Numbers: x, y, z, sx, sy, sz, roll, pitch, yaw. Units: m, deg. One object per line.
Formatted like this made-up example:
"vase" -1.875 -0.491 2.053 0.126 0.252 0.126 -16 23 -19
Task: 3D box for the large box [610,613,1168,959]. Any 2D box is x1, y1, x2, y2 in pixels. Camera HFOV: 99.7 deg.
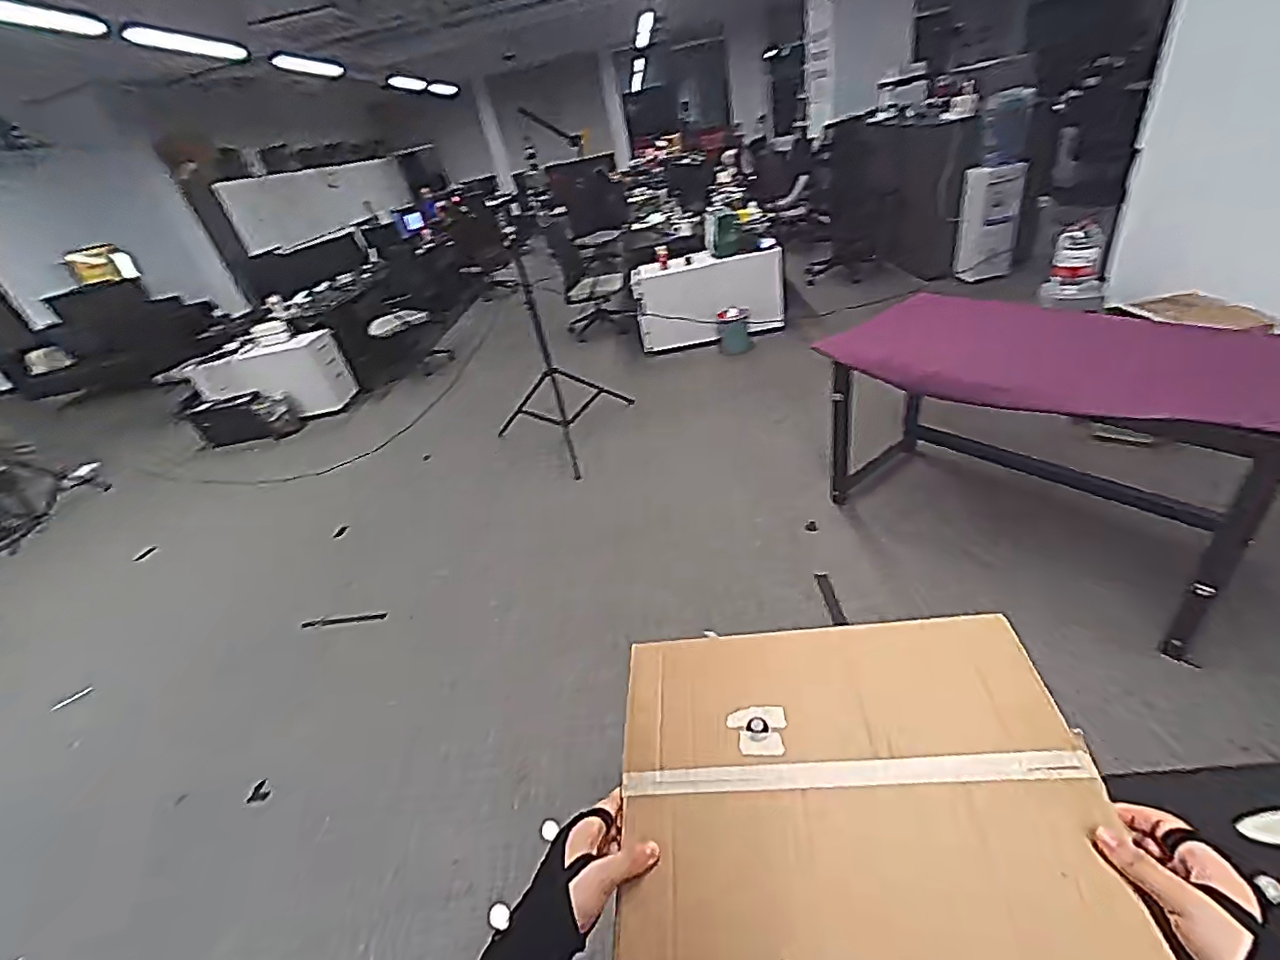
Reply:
"large box" 0.208 0.384 0.593 0.408 0.320 0.320 -9 39 11
